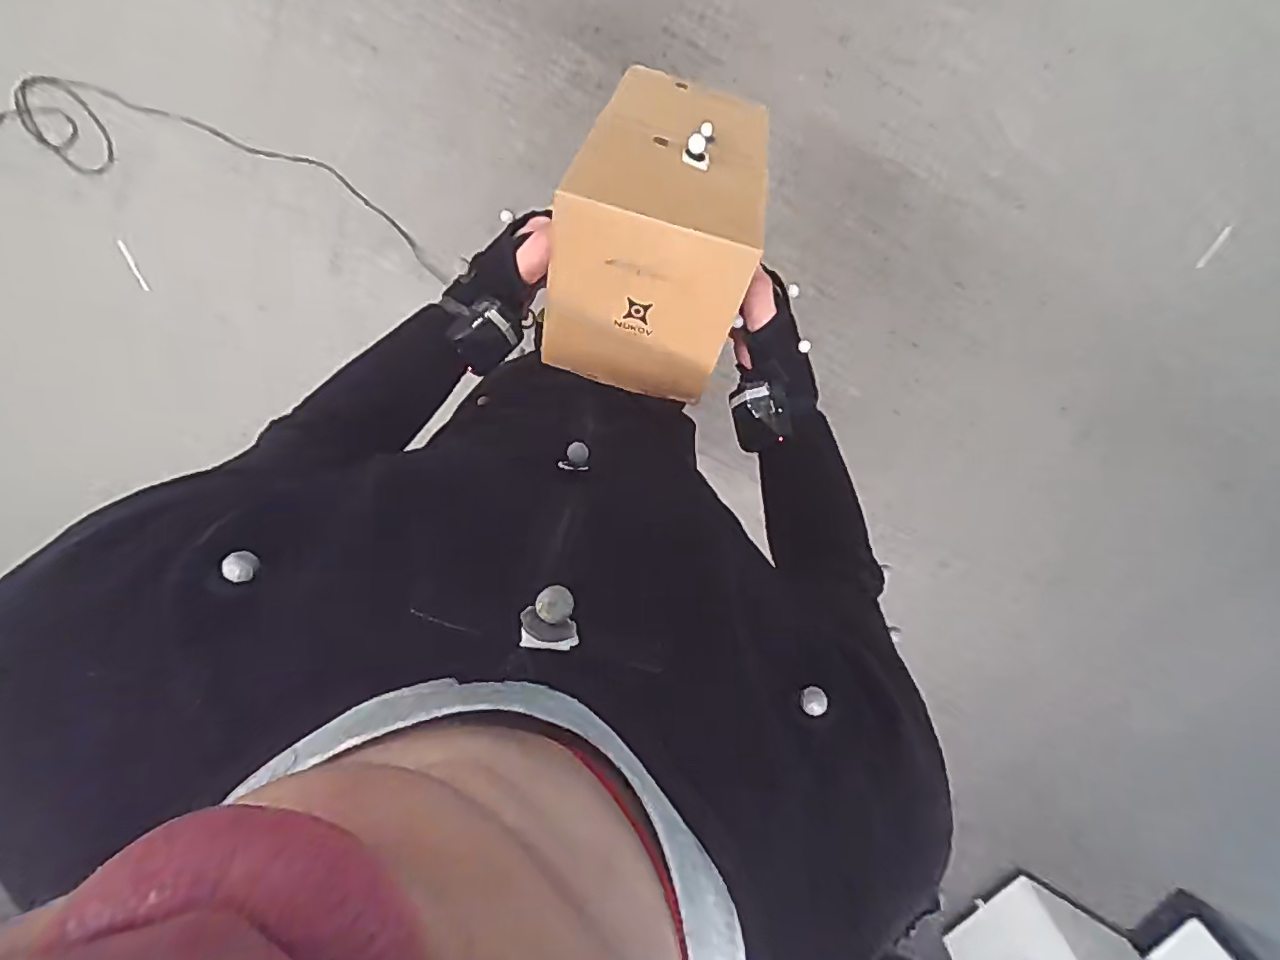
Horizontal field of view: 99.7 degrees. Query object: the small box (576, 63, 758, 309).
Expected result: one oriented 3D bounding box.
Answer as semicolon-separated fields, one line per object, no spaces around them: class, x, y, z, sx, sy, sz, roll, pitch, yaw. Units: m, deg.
small box;0.033;-0.340;0.633;0.168;0.176;0.179;15;143;-4
